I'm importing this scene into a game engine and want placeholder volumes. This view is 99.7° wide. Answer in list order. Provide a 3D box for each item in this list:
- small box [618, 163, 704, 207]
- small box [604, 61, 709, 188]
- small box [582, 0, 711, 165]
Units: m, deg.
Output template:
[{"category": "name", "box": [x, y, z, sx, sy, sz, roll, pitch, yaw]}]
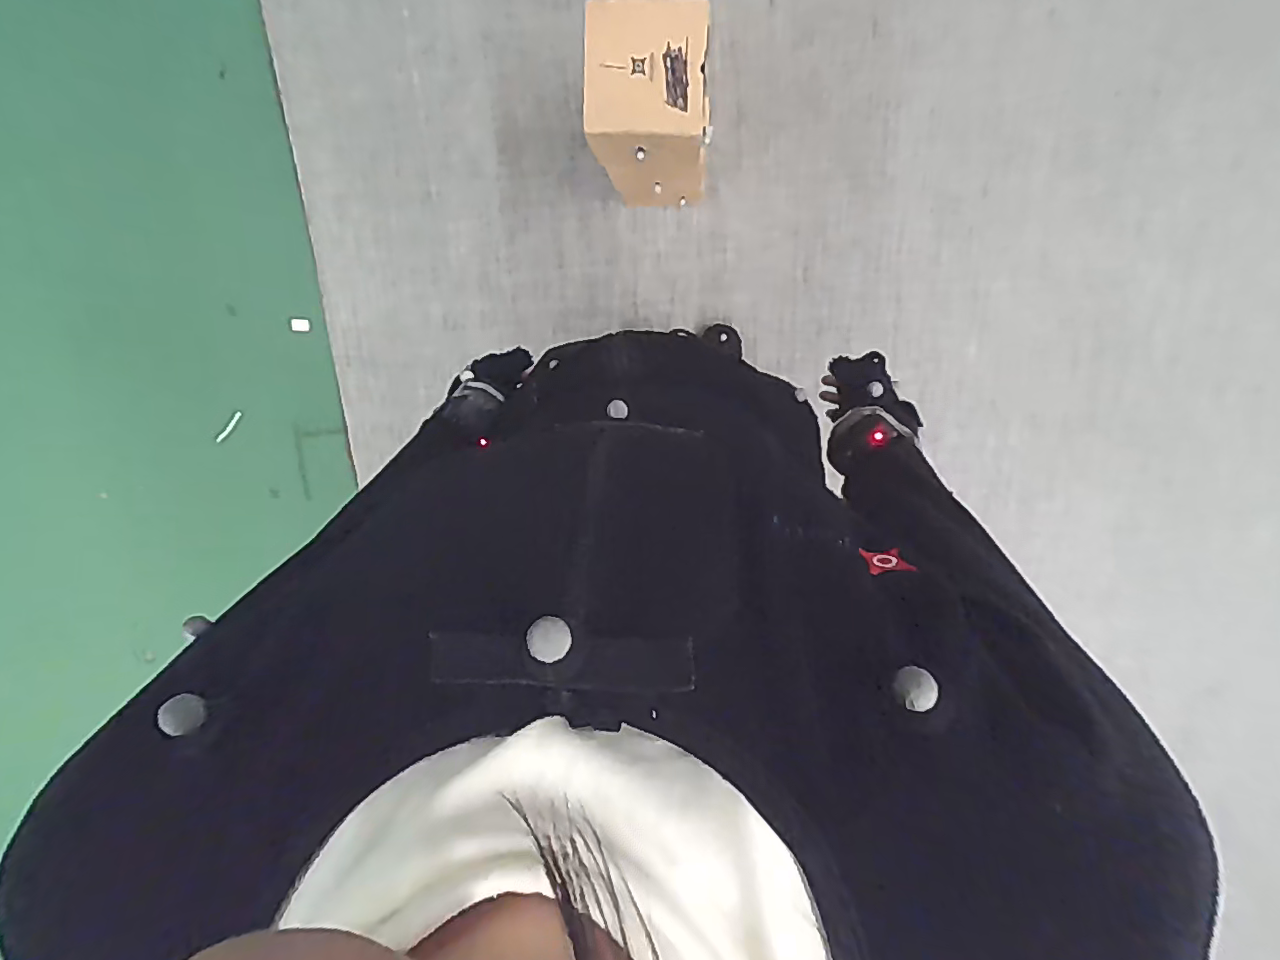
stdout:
[{"category": "small box", "box": [0.048, -0.693, 1.156, 0.179, 0.176, 0.168, 1, 106, 6]}, {"category": "small box", "box": [0.031, -0.650, 0.999, 0.179, 0.176, 0.168, 2, 106, 4]}, {"category": "small box", "box": [0.014, -0.606, 0.841, 0.179, 0.176, 0.168, 5, 107, 5]}]
